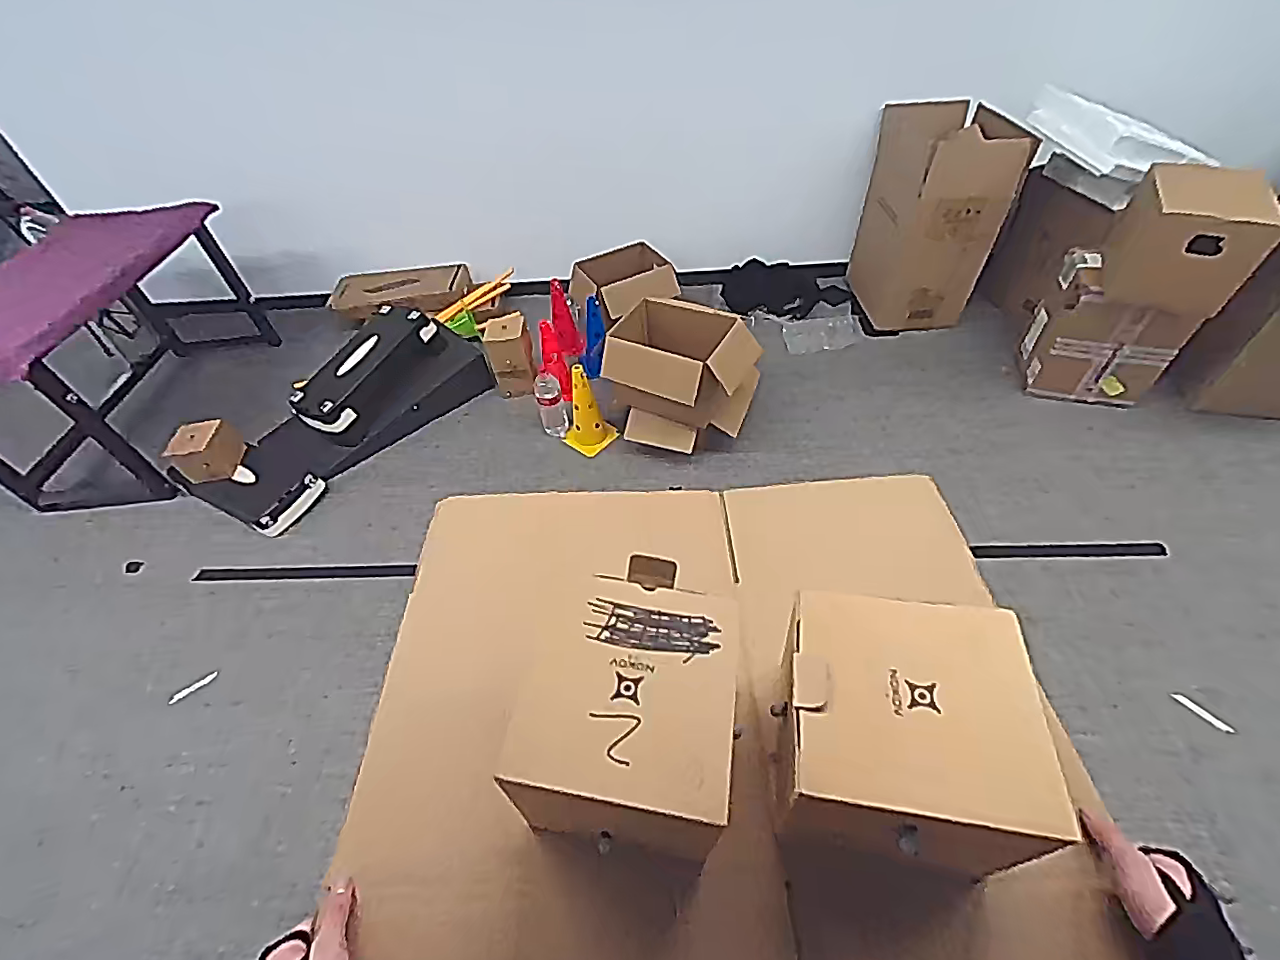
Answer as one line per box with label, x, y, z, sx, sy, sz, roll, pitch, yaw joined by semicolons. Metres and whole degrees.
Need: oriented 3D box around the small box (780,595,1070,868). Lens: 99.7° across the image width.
small box;0.222;0.224;0.480;0.179;0.176;0.168;3;49;12
